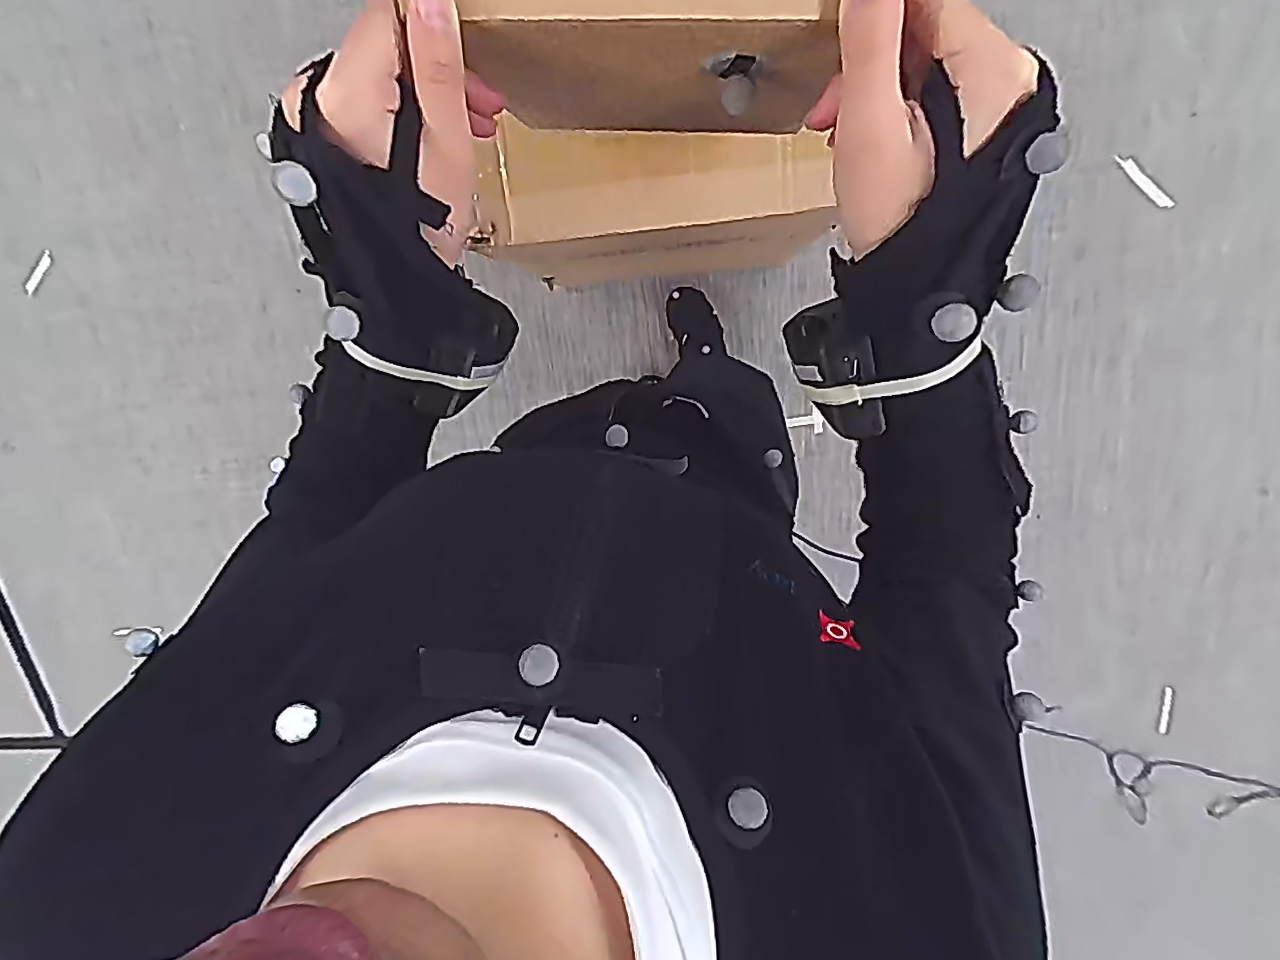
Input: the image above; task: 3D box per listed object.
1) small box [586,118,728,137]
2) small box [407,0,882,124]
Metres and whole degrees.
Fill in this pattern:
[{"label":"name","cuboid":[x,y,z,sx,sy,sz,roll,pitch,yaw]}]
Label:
[{"label":"small box","cuboid":[0.017,-0.466,0.540,0.179,0.176,0.168,-3,105,4]},{"label":"small box","cuboid":[0.009,-0.273,0.237,0.179,0.176,0.168,4,111,5]}]
